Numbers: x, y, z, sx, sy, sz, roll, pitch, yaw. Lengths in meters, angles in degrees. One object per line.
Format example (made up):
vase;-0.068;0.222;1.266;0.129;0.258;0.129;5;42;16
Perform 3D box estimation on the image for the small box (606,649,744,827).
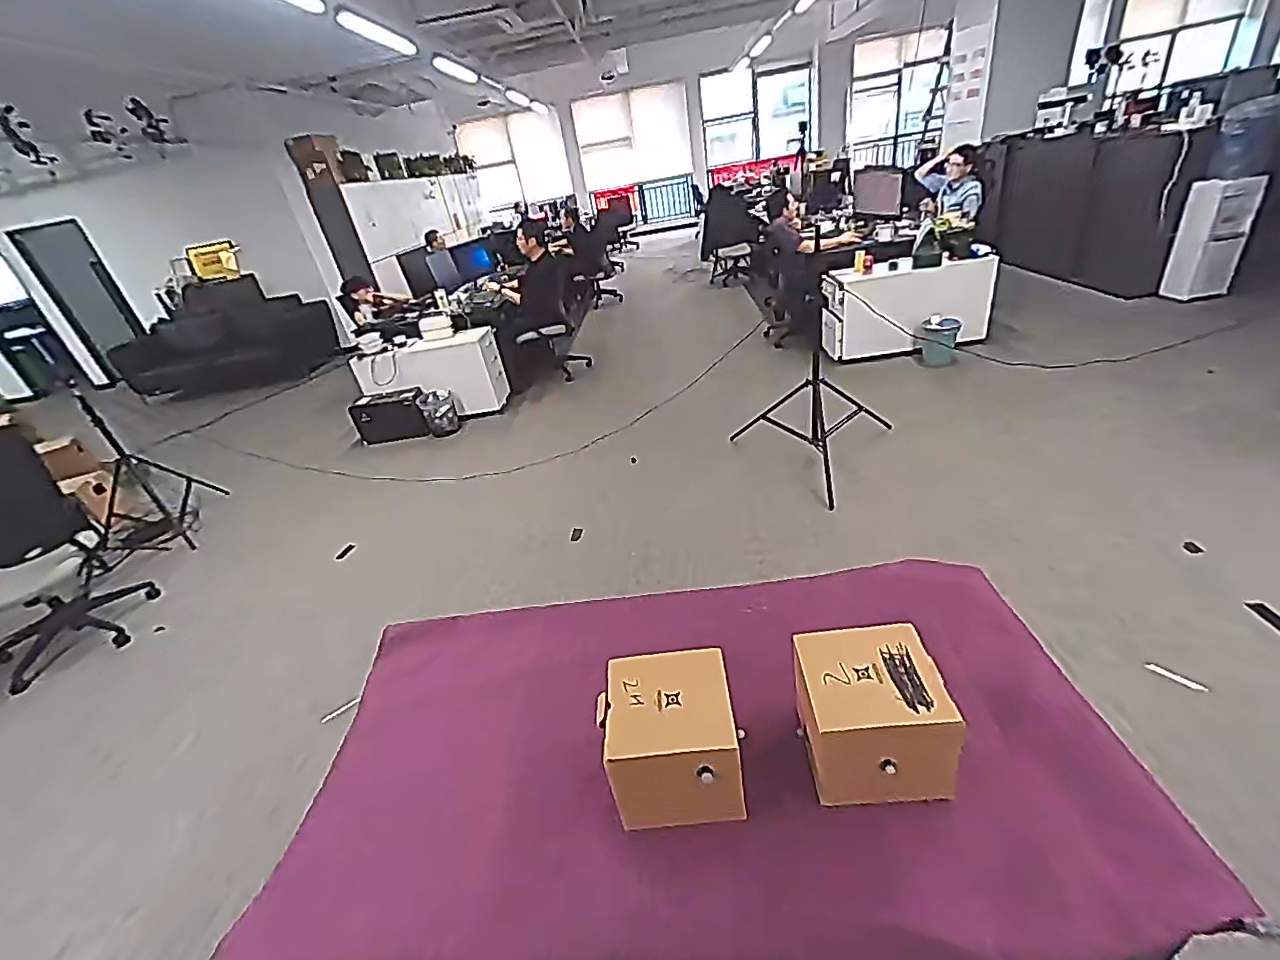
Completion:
small box;0.054;0.376;0.791;0.179;0.176;0.168;-9;29;4
